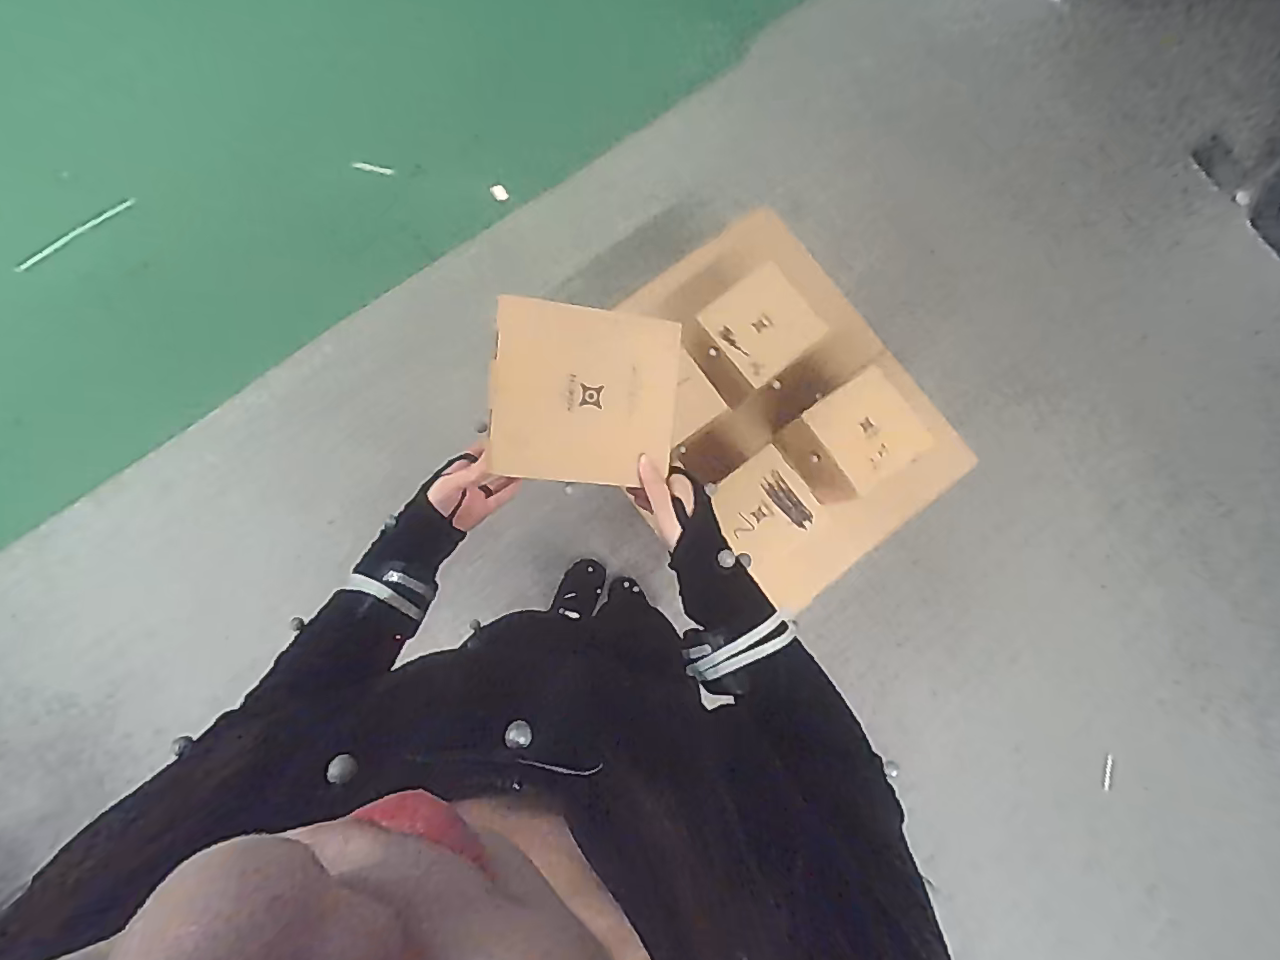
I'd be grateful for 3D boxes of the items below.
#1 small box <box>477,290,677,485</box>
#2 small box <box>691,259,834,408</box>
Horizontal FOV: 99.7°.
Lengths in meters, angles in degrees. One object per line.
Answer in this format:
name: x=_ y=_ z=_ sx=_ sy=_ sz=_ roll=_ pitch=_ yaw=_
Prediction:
small box: x=-0.074 y=-0.086 z=0.581 sx=0.179 sy=0.176 sz=0.168 roll=5 pitch=92 yaw=-14
small box: x=0.215 y=-0.262 z=1.001 sx=0.179 sy=0.176 sz=0.168 roll=-38 pitch=85 yaw=-7
